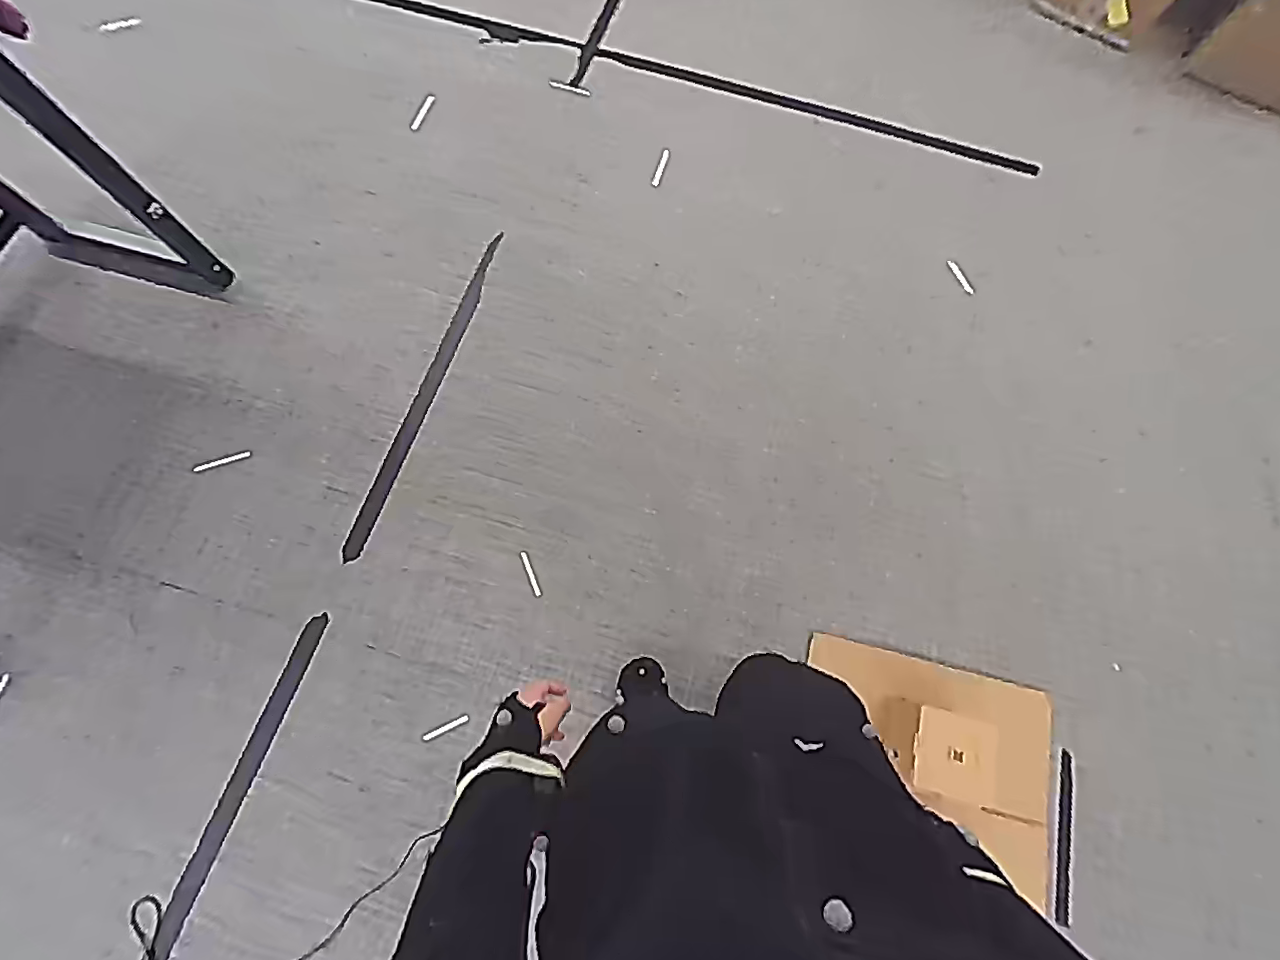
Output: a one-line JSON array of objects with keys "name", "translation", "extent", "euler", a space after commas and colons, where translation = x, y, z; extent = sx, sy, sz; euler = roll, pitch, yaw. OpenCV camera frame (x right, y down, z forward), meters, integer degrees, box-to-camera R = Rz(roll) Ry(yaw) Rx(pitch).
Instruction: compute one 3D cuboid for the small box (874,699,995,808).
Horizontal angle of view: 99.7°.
[{"name": "small box", "translation": [0.653, 0.602, 1.215], "extent": [0.179, 0.176, 0.168], "euler": [16, 75, 1]}]
